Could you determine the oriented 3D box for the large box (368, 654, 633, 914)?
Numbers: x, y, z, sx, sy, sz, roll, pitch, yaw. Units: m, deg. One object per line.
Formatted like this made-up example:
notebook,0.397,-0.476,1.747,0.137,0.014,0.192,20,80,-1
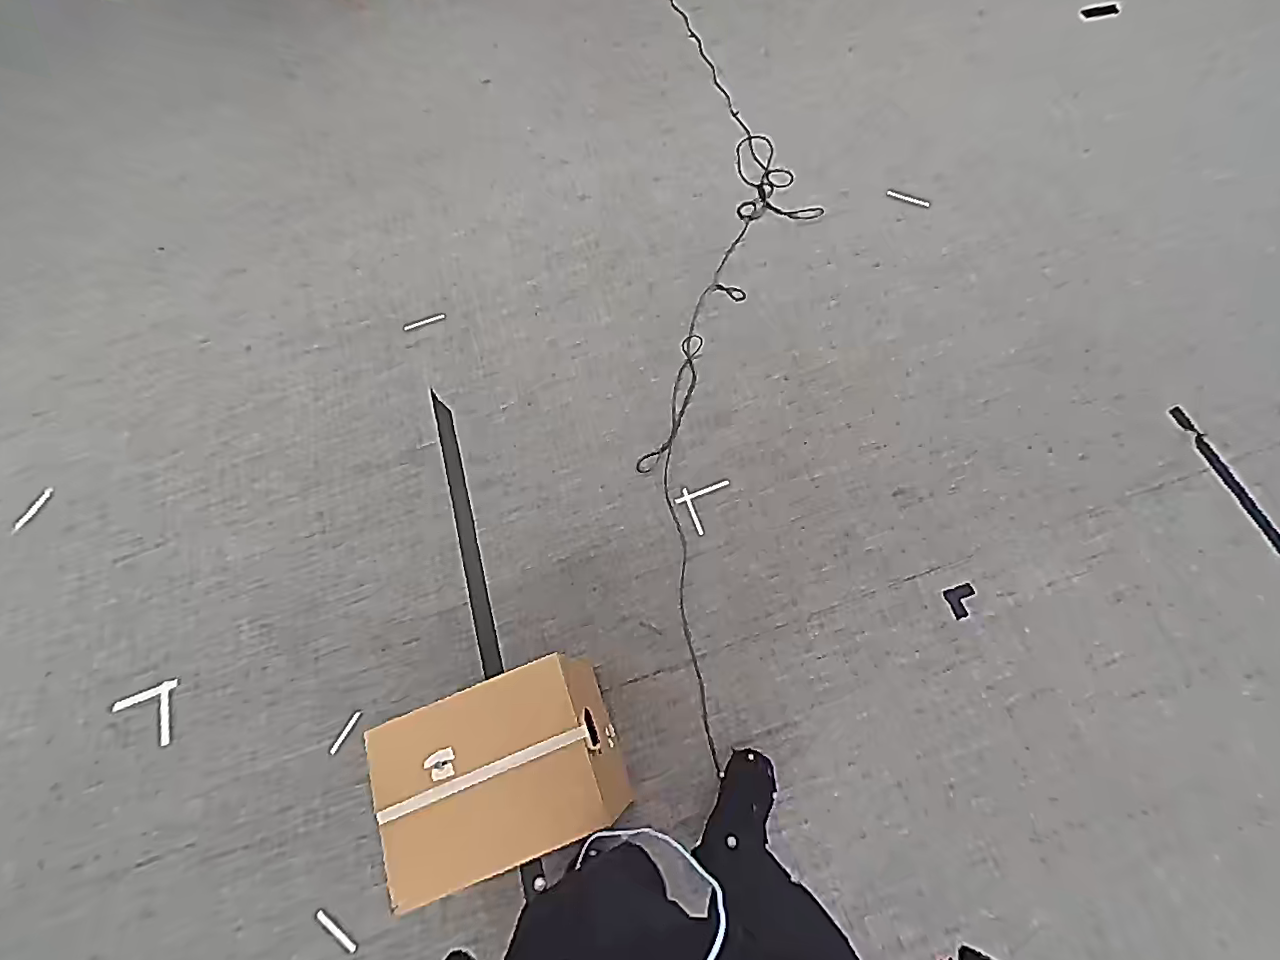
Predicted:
large box,-0.269,0.594,1.126,0.408,0.320,0.320,-22,66,-1
